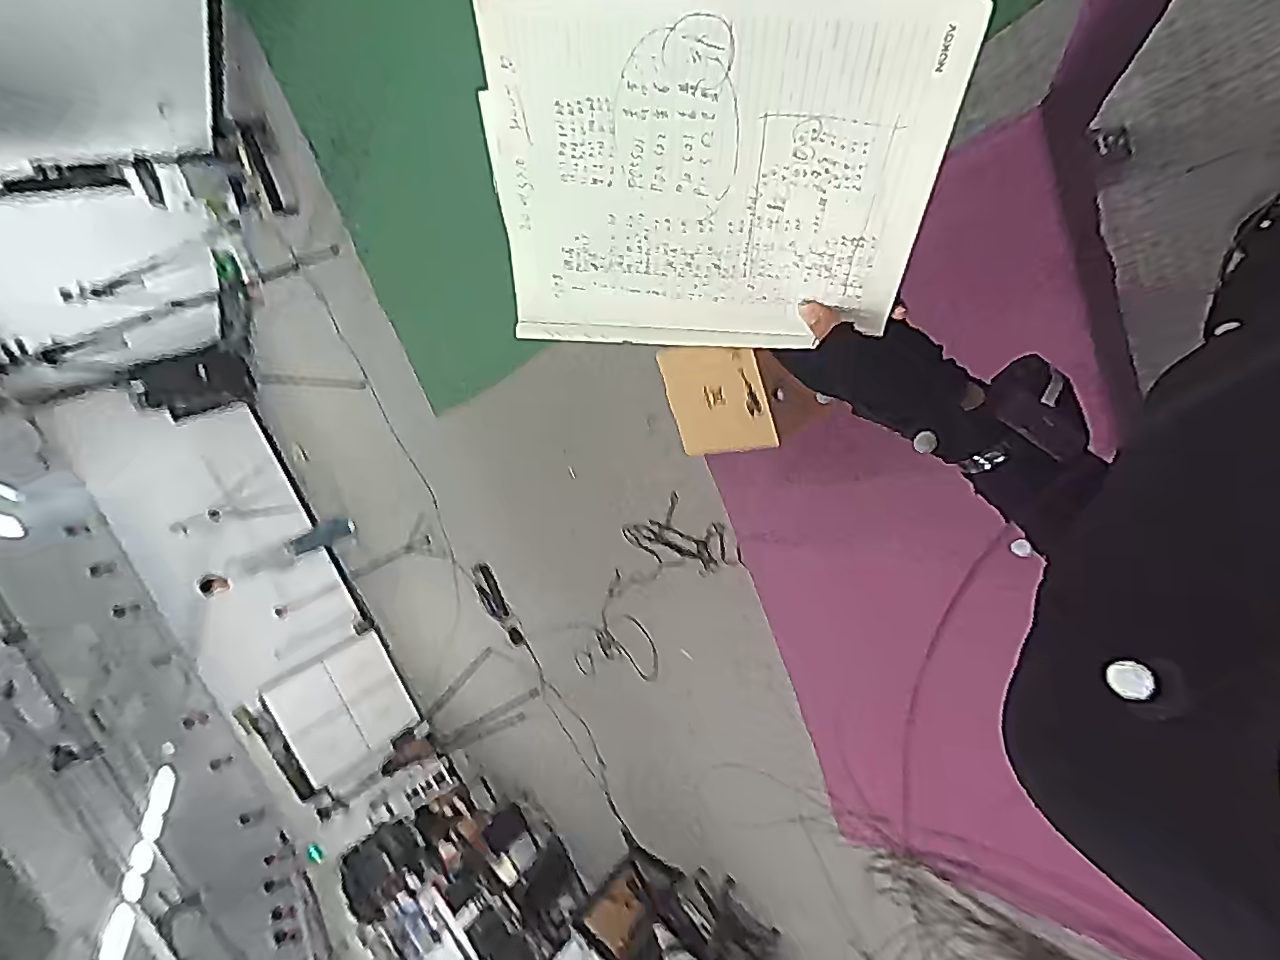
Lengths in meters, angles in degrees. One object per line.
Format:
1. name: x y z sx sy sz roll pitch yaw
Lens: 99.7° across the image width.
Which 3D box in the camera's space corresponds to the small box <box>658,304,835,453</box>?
1. small box: 0.162 -0.149 0.814 0.179 0.176 0.168 -2 113 50
